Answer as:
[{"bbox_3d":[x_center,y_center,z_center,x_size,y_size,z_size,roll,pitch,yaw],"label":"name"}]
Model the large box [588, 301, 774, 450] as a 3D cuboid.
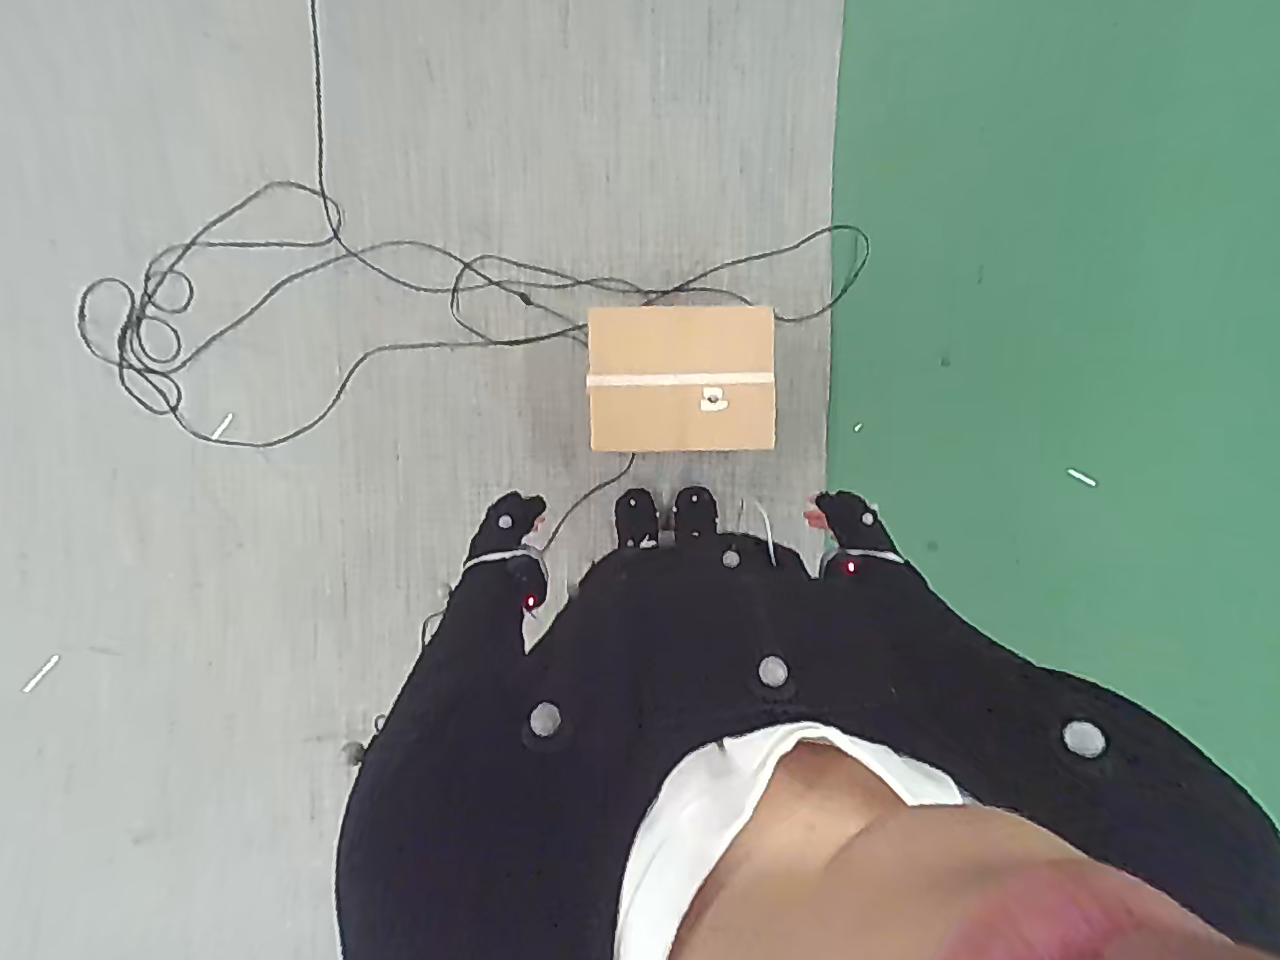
[{"bbox_3d":[0.086,-0.235,1.316,0.408,0.320,0.320,-1,94,-1],"label":"large box"}]
